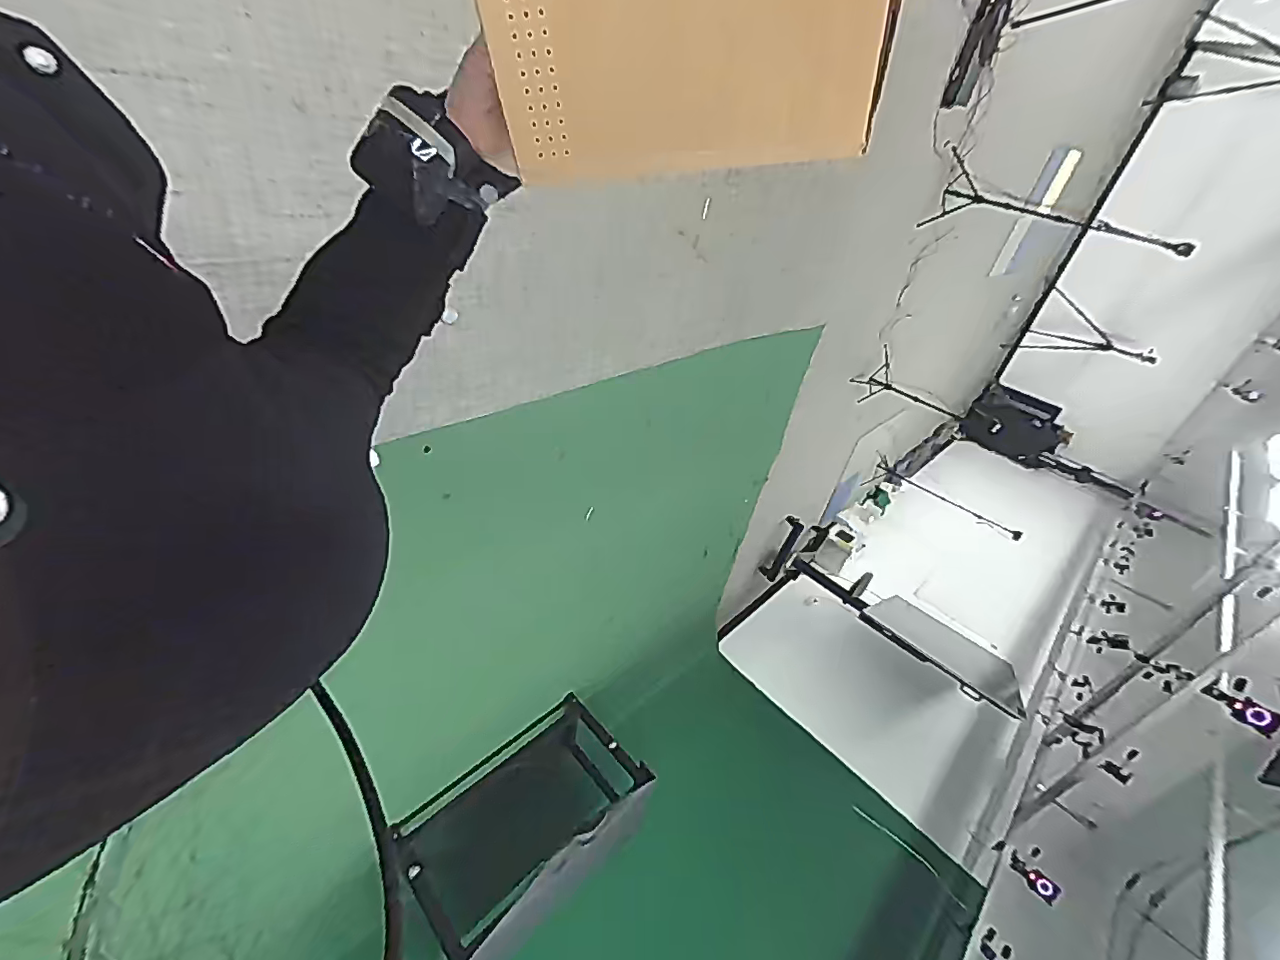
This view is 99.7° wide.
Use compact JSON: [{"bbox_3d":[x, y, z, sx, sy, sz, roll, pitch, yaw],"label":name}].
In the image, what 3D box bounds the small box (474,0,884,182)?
[{"bbox_3d":[0.013,-0.269,0.254,0.179,0.176,0.168,78,13,-50],"label":"small box"}]
